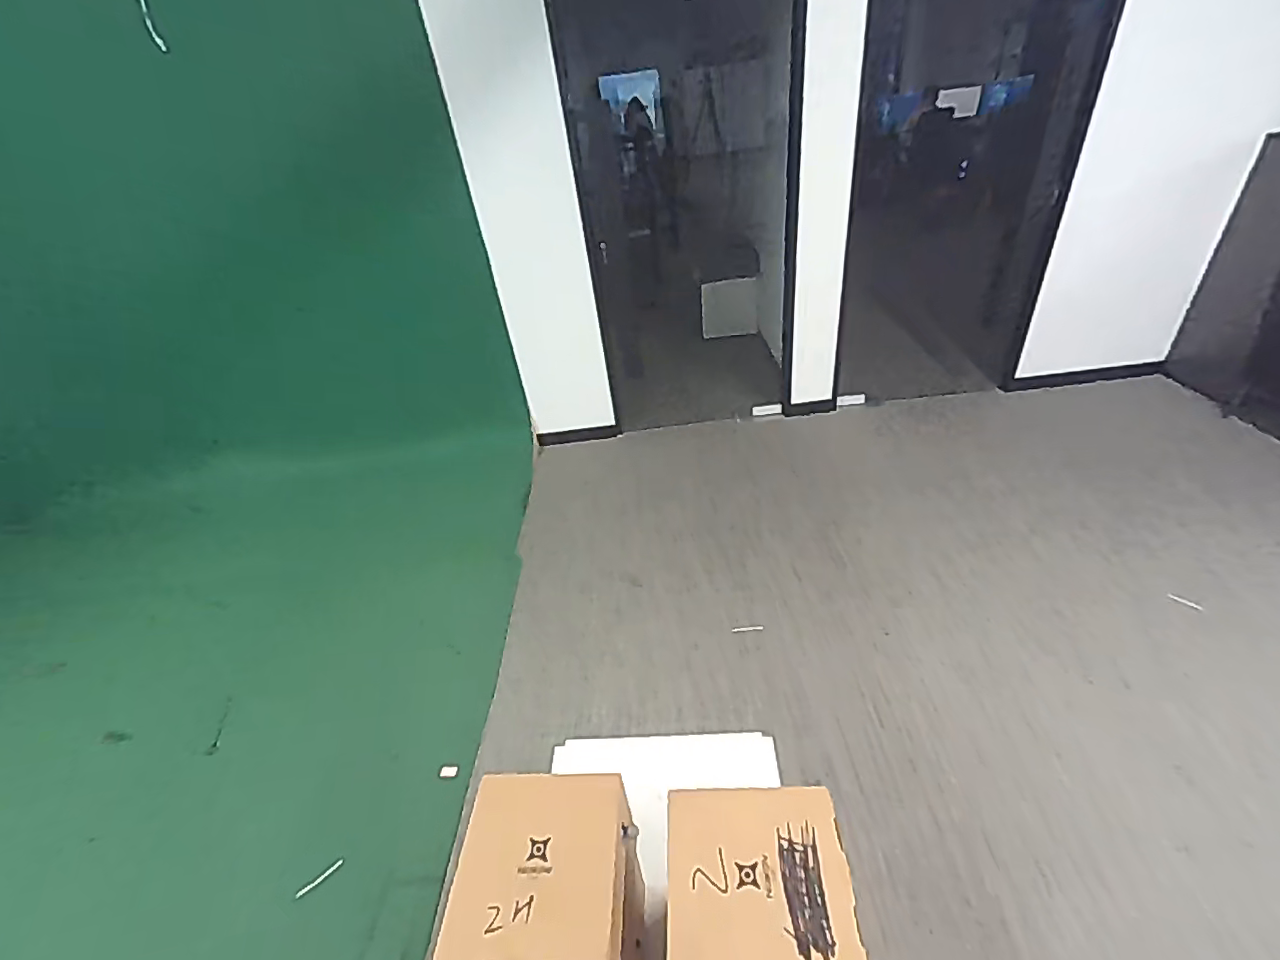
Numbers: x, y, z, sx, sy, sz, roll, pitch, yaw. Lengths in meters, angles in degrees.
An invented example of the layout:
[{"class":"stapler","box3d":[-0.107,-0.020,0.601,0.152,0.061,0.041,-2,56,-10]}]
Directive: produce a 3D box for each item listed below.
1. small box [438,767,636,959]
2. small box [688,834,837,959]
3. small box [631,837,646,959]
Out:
[{"class":"small box","box3d":[-0.097,0.452,0.607,0.168,0.176,0.179,-3,35,6]},{"class":"small box","box3d":[0.147,0.573,0.672,0.168,0.176,0.179,-5,36,7]},{"class":"small box","box3d":[-0.083,0.588,0.698,0.168,0.176,0.179,-4,36,5]}]
